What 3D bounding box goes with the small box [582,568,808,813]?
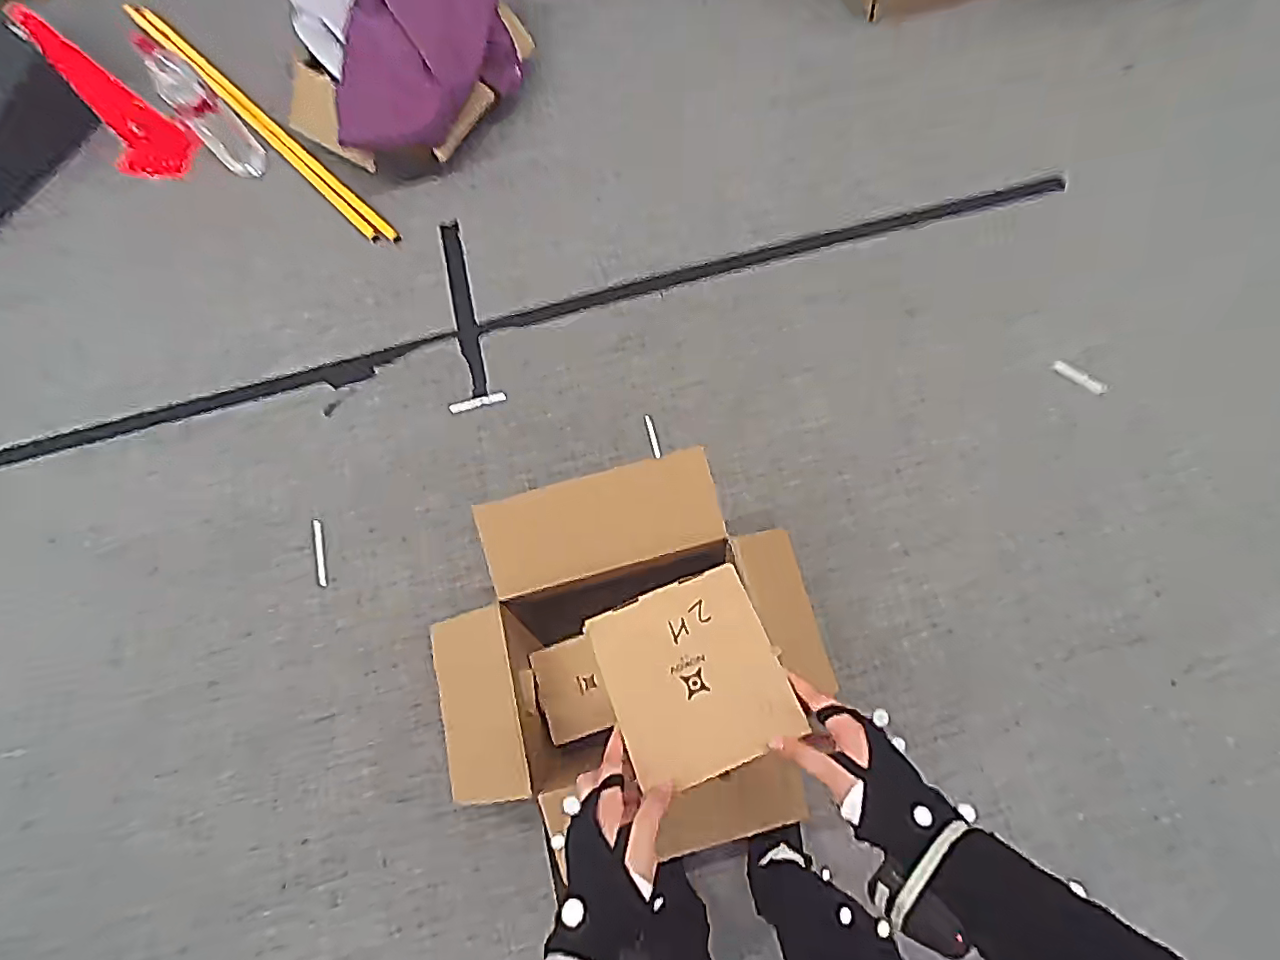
[{"bbox_3d":[0.054,0.219,0.580,0.168,0.176,0.179,-21,67,-4],"label":"small box"}]
